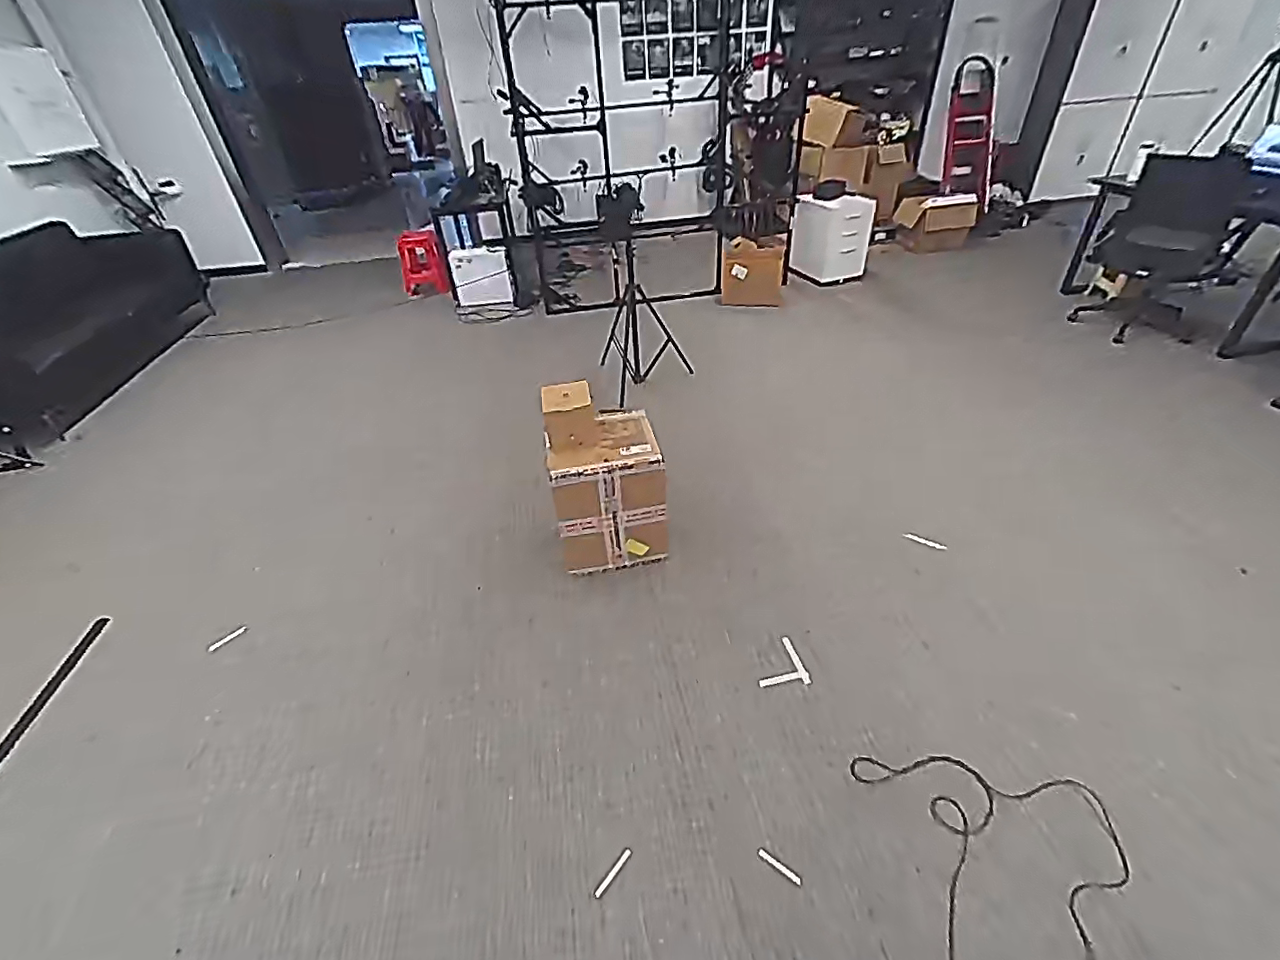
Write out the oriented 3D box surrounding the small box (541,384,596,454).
[{"bbox_3d":[-0.253,-0.216,1.907,0.168,0.176,0.179,-10,40,-5],"label":"small box"}]
